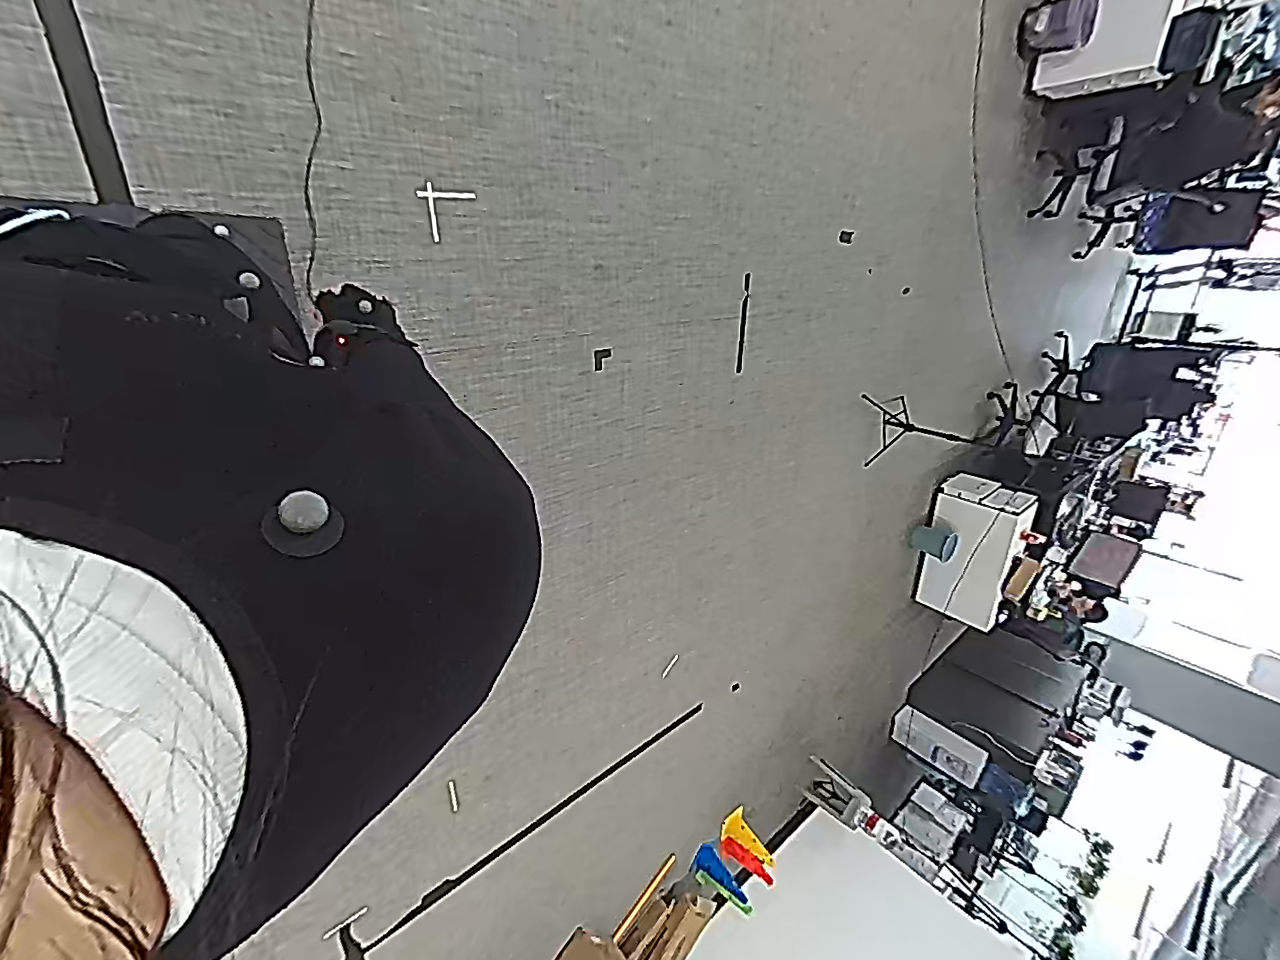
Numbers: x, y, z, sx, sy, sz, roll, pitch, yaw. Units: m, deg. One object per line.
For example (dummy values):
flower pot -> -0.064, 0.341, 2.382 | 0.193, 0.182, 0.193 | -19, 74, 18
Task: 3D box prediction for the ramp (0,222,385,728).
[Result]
ramp -> -0.918, -0.014, 1.167 | 0.509, 0.206, 0.991 | -18, 116, -35
